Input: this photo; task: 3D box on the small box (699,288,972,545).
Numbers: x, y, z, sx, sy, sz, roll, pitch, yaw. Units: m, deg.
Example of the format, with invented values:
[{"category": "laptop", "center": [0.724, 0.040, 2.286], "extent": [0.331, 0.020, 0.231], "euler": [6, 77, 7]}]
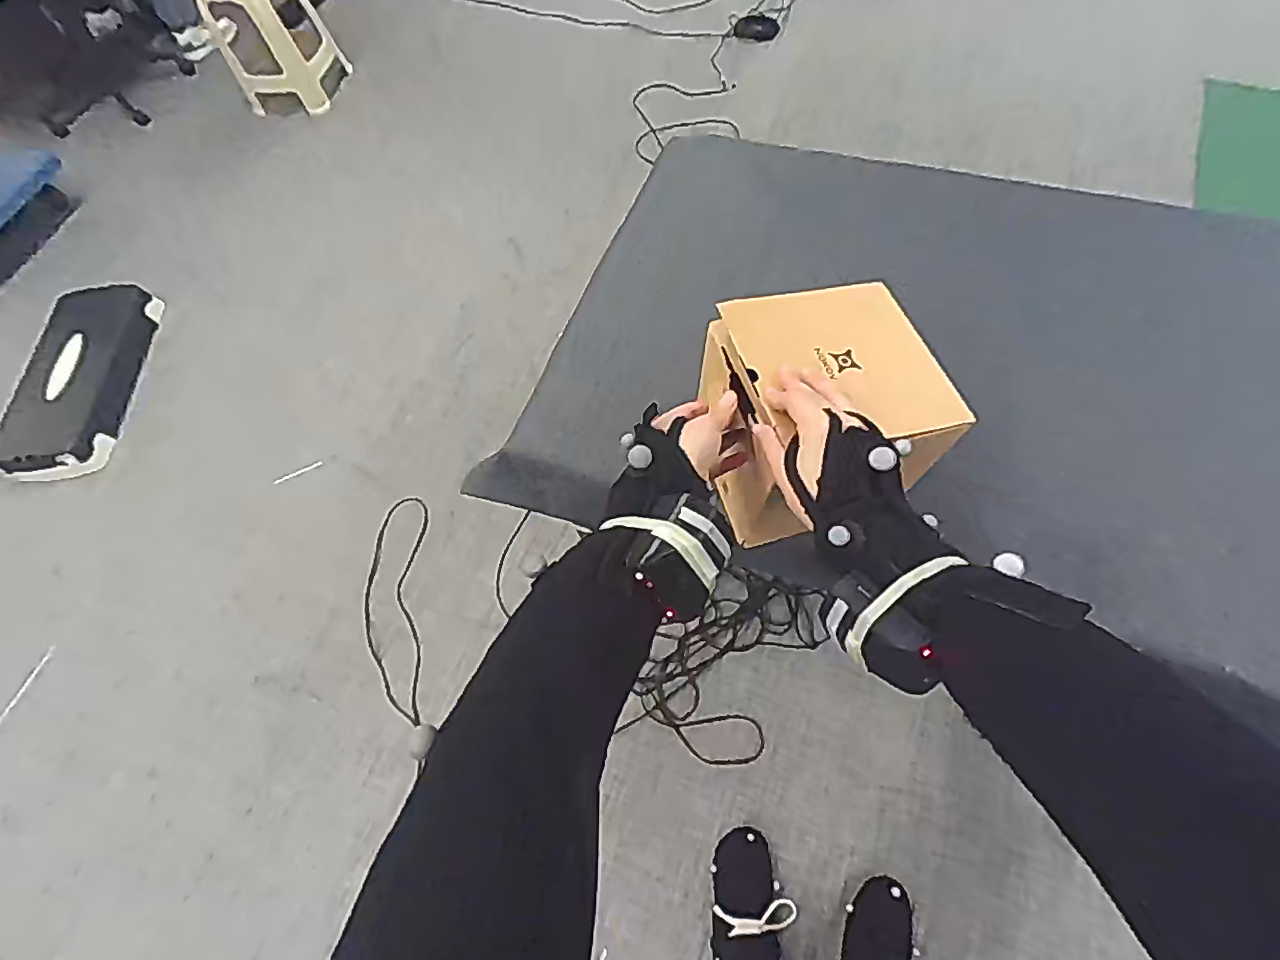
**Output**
[{"category": "small box", "center": [0.168, -0.053, 0.533], "extent": [0.179, 0.176, 0.168], "euler": [-14, 63, -5]}]
